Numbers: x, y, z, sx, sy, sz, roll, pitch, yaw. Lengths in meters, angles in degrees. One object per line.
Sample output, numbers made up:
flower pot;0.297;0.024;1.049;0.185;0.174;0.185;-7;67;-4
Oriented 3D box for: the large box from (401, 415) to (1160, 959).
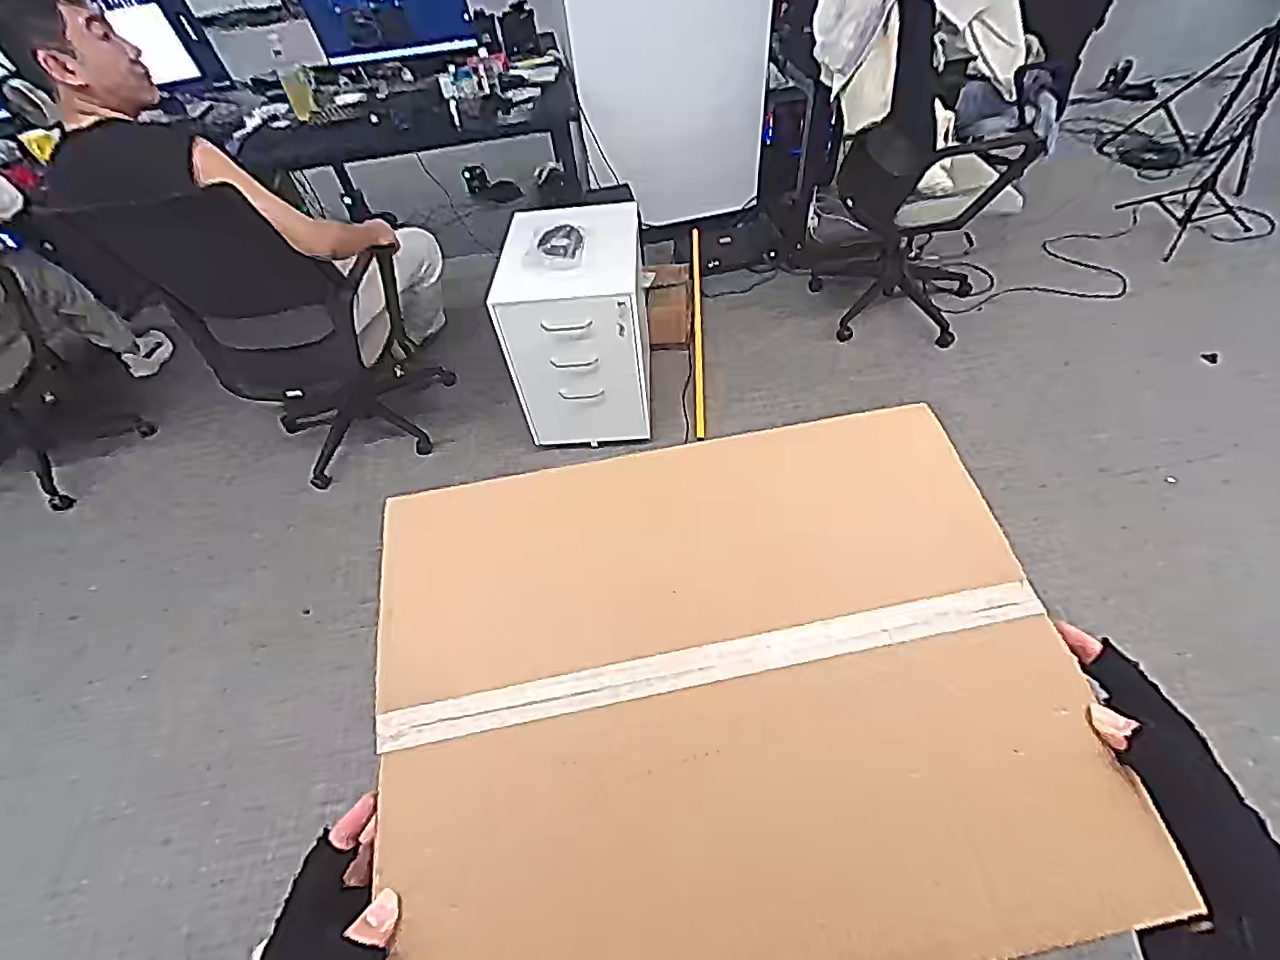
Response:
large box;0.055;0.189;0.469;0.408;0.320;0.320;-11;62;-3
